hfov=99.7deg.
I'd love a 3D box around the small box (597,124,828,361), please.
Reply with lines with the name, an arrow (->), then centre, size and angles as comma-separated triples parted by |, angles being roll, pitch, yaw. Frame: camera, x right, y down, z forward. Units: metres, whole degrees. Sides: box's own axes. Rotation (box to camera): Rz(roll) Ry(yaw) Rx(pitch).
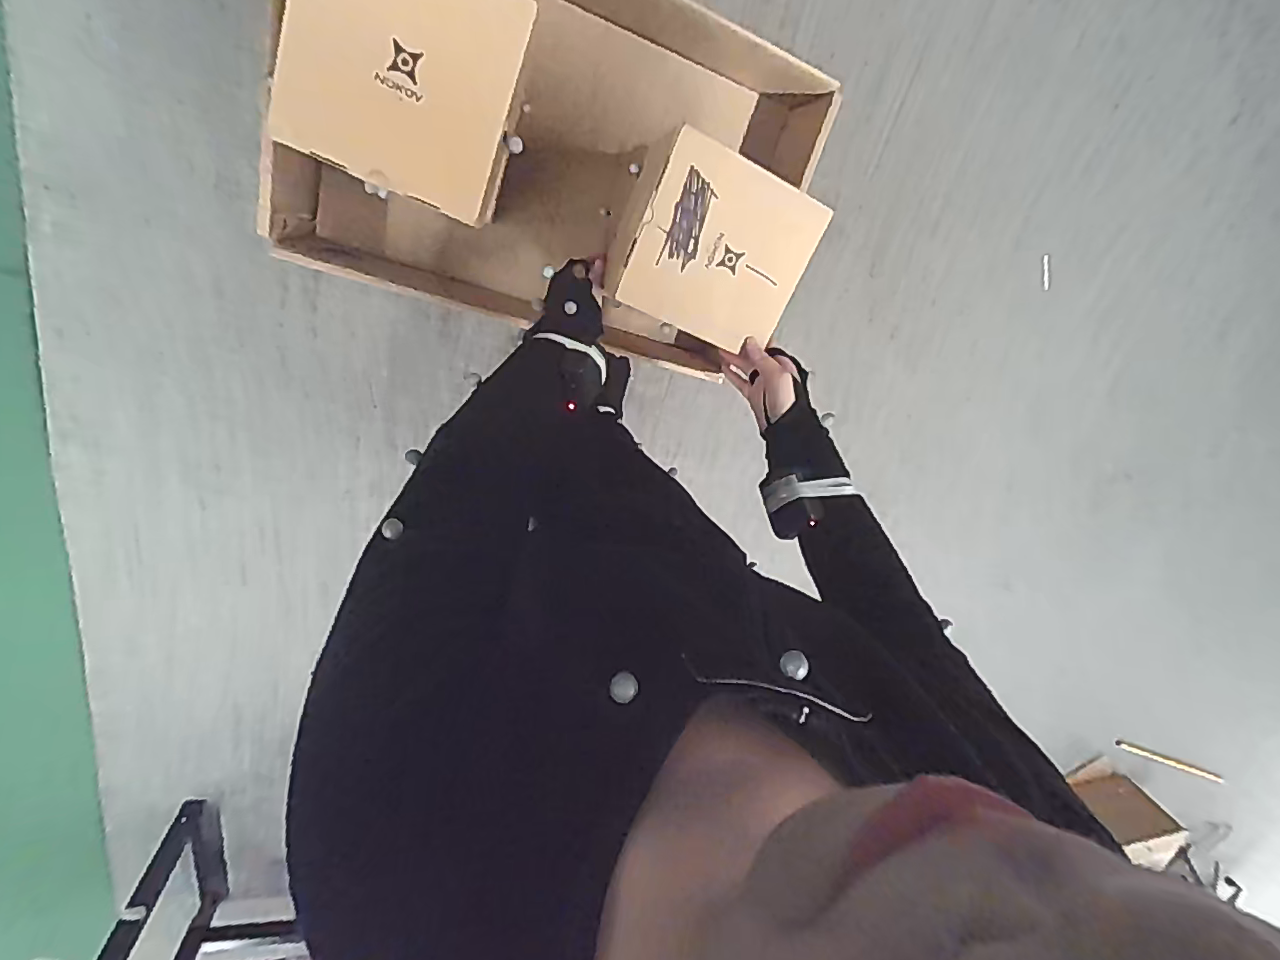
small box -> 0.064, -0.255, 0.605 | 0.179, 0.176, 0.168 | 19, 110, -19

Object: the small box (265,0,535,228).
small box -> -0.207, -0.355, 0.495 | 0.168, 0.176, 0.179 | 17, 110, -21
